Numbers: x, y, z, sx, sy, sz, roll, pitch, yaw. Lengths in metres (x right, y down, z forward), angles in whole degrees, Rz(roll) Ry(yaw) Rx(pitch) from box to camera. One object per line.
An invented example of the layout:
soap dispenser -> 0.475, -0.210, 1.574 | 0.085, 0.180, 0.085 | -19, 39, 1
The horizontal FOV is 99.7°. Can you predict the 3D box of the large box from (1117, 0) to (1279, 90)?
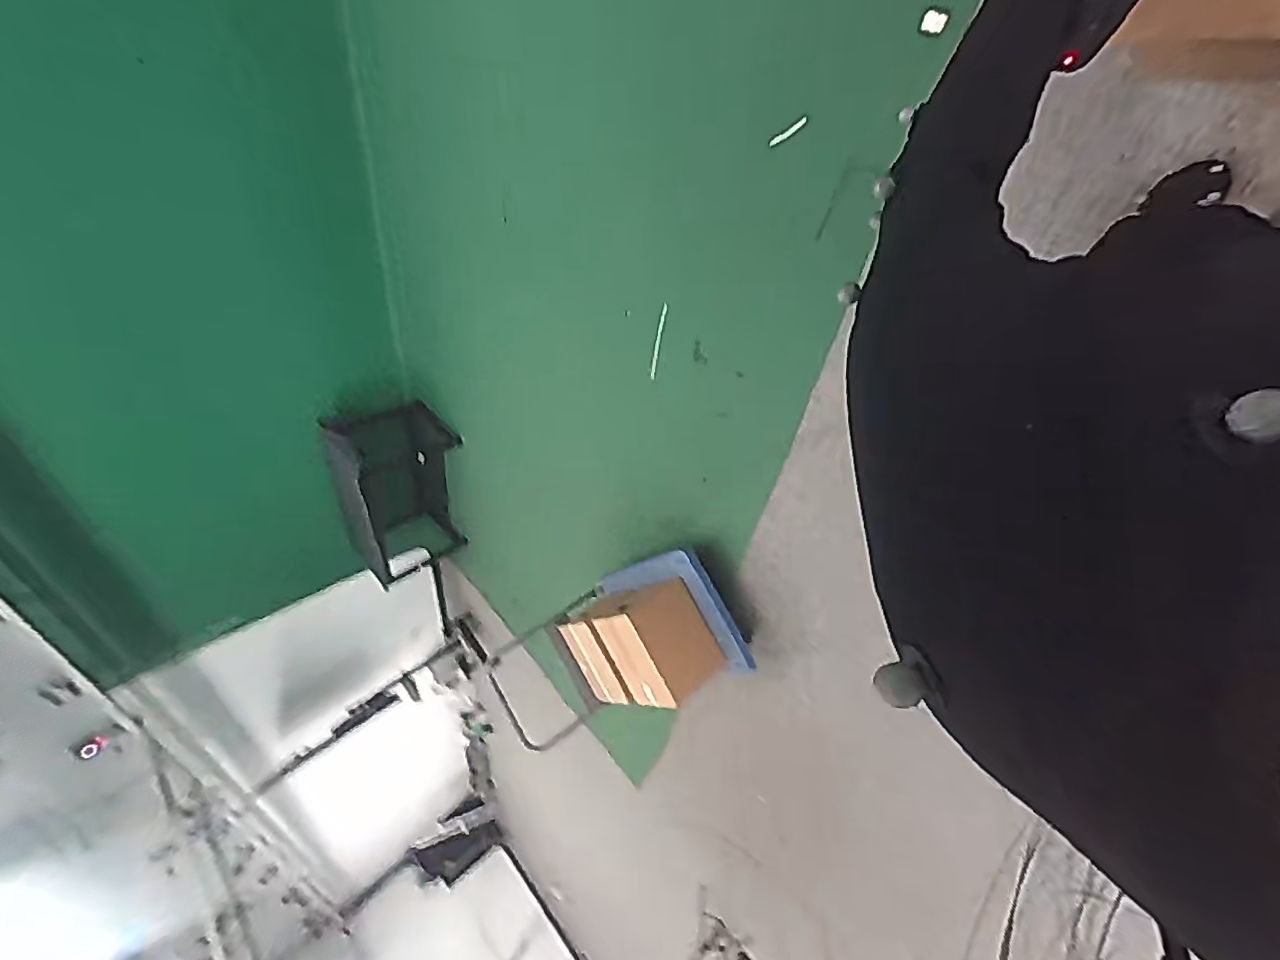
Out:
large box -> 0.611, -0.442, 0.323 | 0.408, 0.320, 0.320 | 28, 130, 32
